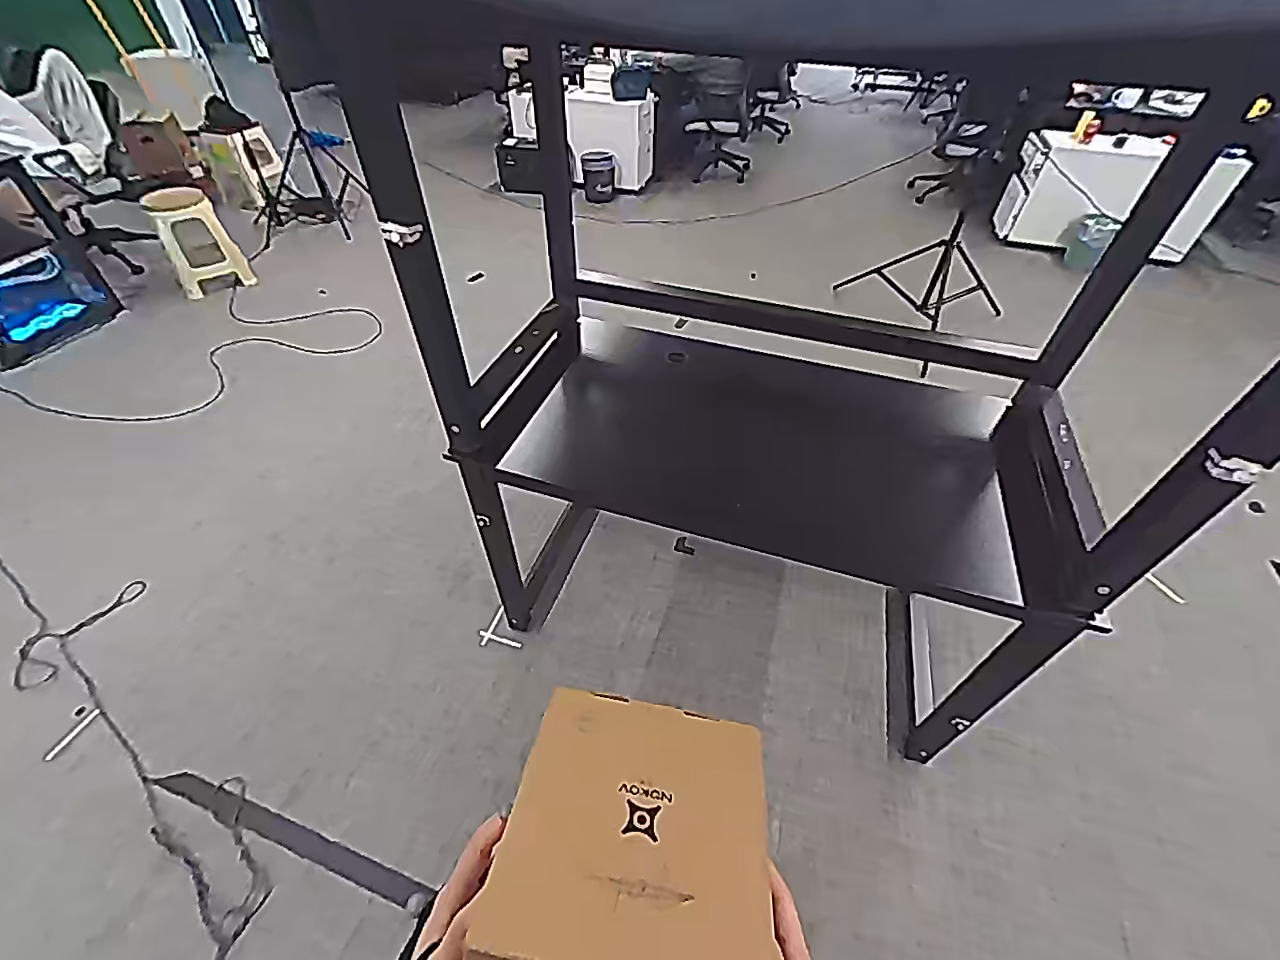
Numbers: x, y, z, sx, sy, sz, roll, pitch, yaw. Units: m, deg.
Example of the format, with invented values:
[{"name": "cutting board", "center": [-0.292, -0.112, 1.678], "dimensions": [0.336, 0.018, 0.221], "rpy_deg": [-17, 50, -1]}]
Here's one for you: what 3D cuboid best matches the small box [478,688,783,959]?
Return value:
[{"name": "small box", "center": [-0.005, 0.287, 0.384], "dimensions": [0.168, 0.176, 0.179], "rpy_deg": [10, 28, 4]}]
